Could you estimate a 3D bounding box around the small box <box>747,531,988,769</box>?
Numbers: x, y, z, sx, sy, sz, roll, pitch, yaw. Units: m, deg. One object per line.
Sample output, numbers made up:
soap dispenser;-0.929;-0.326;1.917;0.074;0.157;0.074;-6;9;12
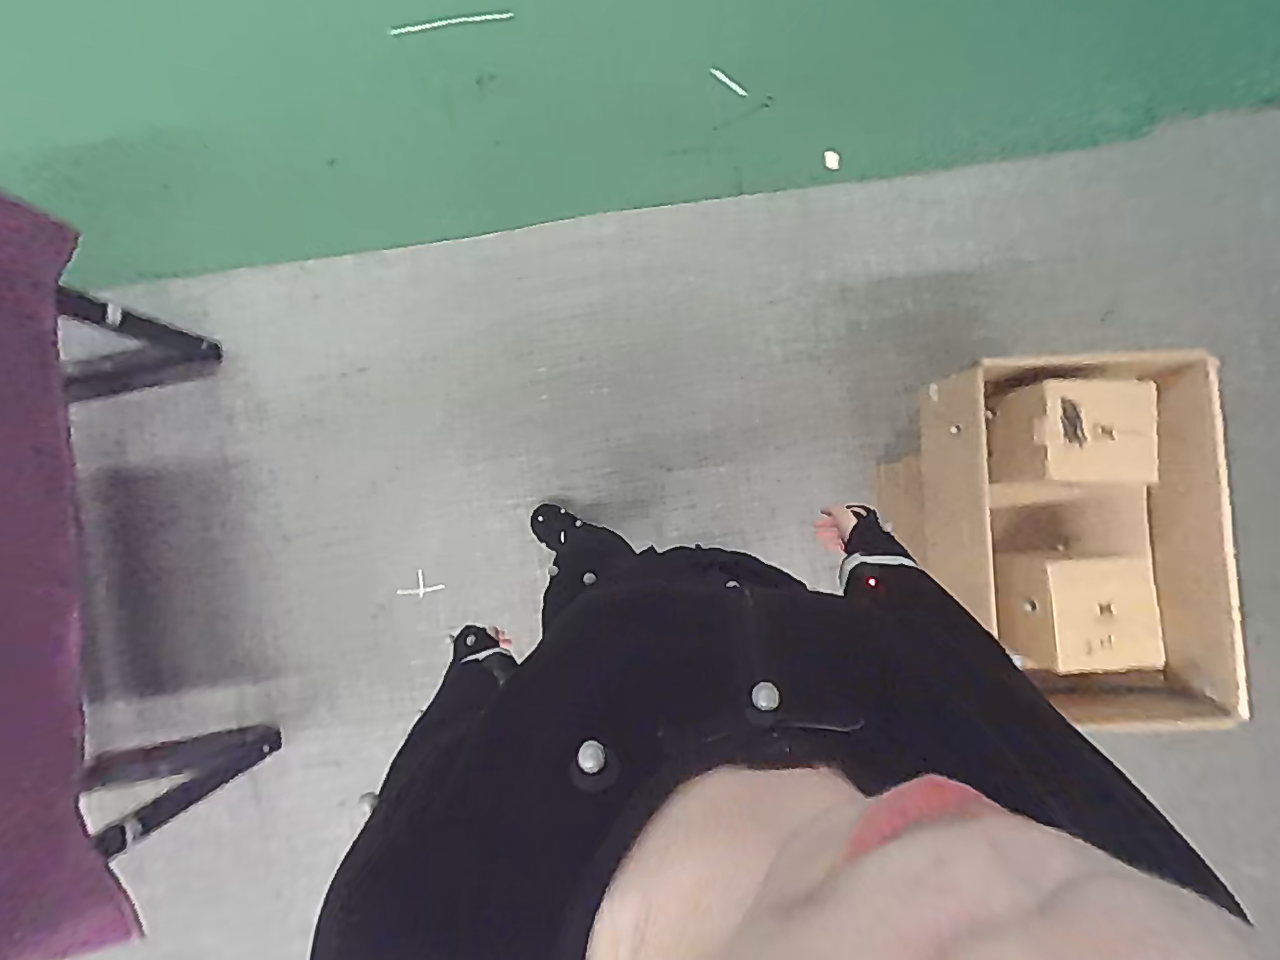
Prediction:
small box;0.265;0.197;0.621;0.179;0.168;0.176;-50;130;3
